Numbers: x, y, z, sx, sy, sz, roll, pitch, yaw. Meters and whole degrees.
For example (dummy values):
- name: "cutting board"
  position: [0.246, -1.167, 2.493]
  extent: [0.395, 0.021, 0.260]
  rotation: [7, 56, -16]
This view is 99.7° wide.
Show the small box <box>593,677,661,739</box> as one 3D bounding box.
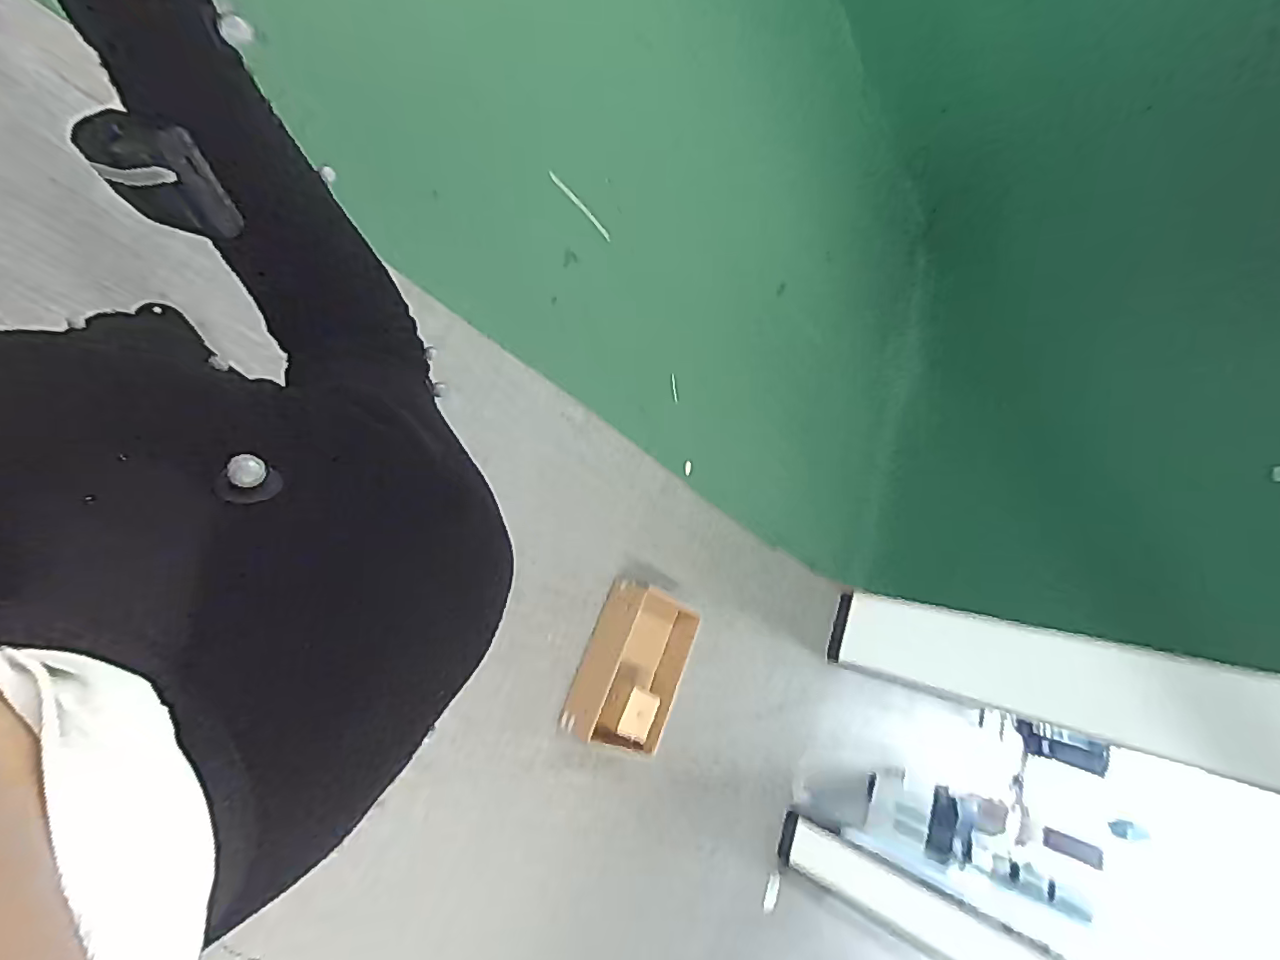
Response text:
- name: "small box"
  position: [-0.053, 0.892, 2.128]
  extent: [0.179, 0.176, 0.168]
  rotation: [40, 66, -38]
